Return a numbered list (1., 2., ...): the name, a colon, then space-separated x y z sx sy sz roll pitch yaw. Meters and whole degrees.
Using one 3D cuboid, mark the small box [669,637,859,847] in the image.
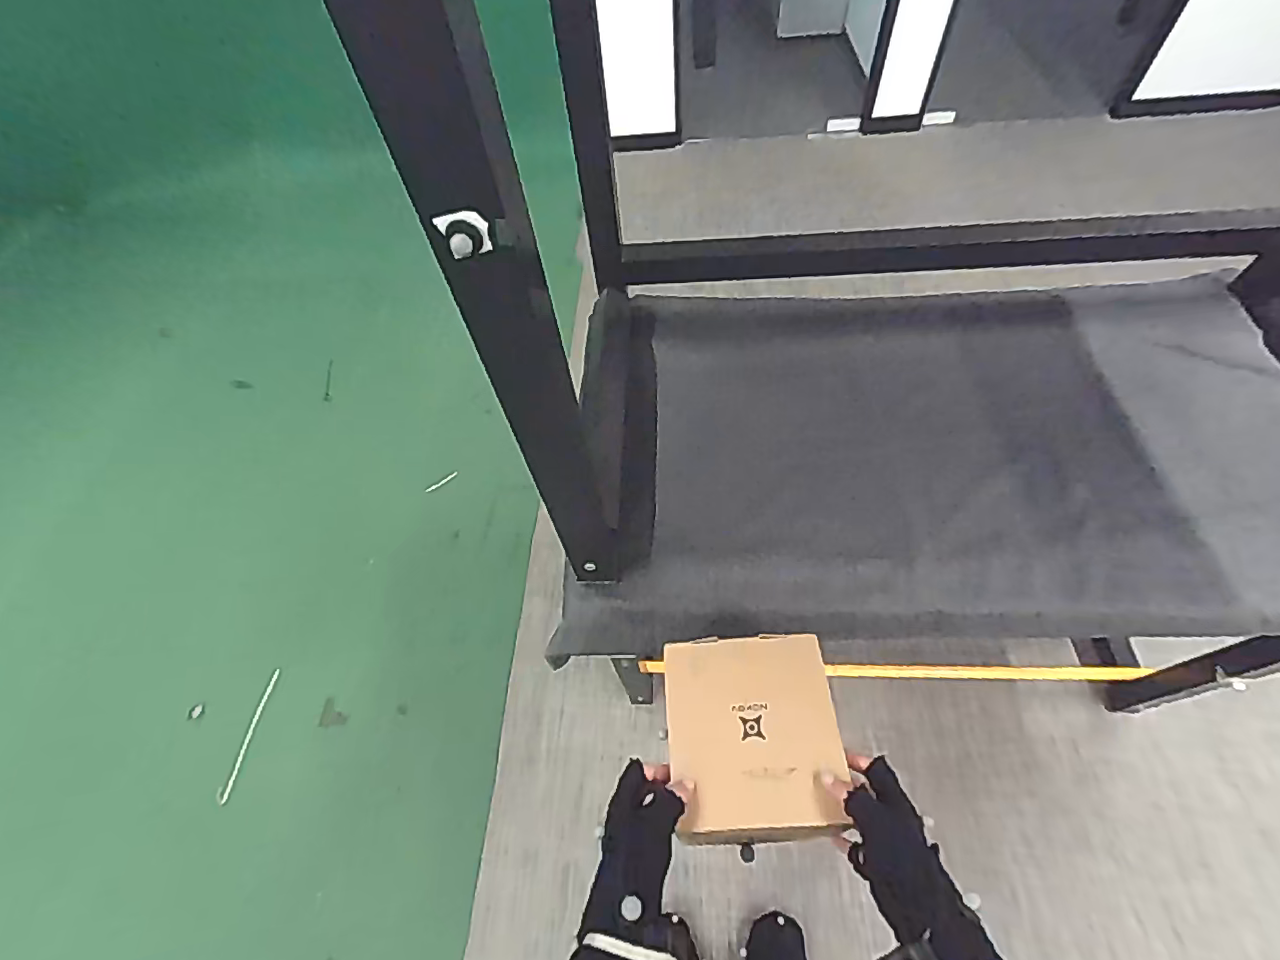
1. small box: 0.122 0.293 0.600 0.168 0.176 0.179 -6 52 5
